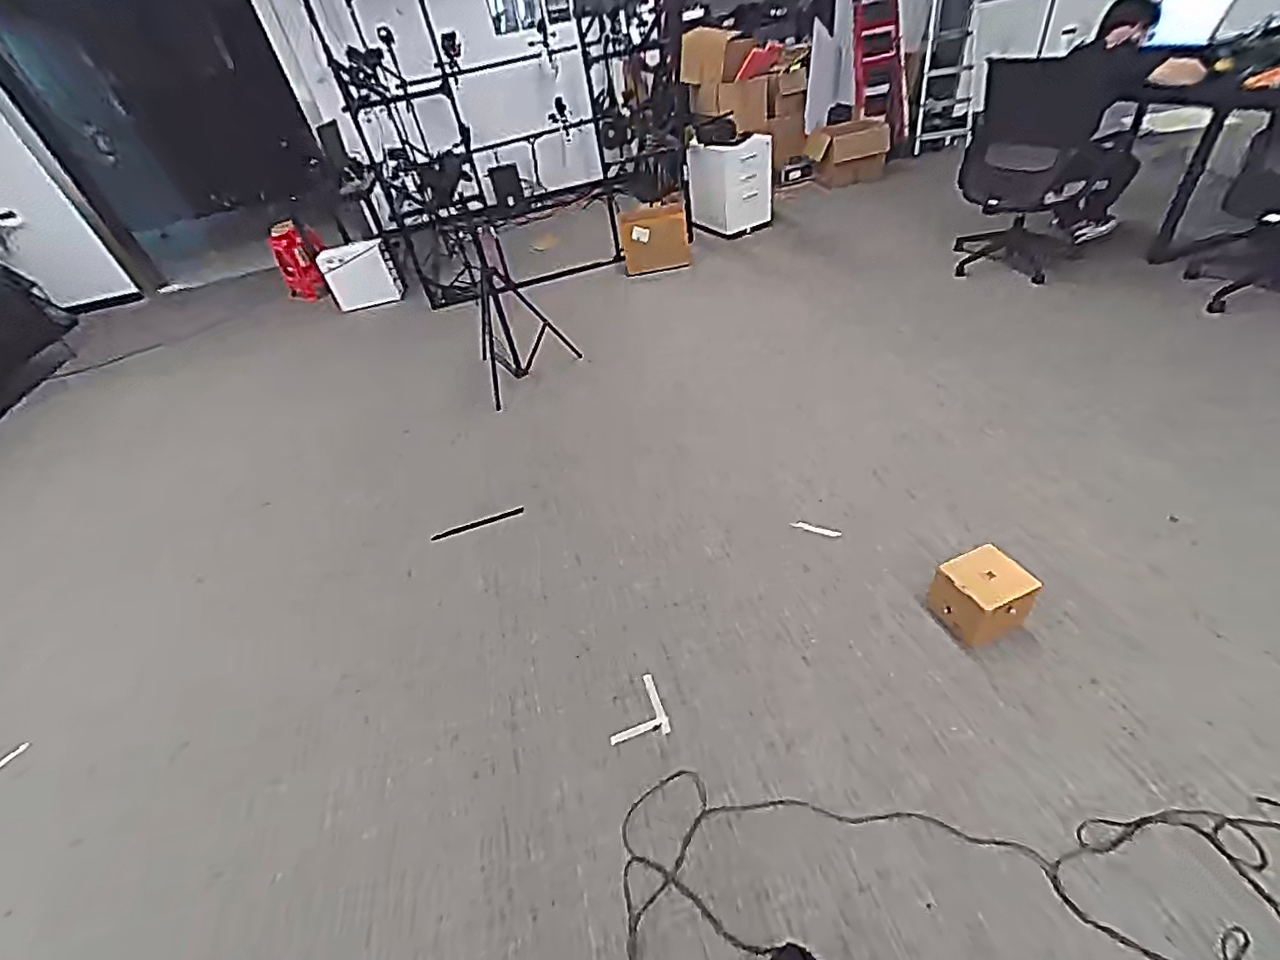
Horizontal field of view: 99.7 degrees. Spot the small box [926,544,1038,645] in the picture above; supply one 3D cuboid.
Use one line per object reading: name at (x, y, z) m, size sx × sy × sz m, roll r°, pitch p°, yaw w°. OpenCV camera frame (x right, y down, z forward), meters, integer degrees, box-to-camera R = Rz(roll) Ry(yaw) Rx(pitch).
small box at (0.909, 0.309, 1.456) m, size 0.179 × 0.176 × 0.168 m, roll -21°, pitch 41°, yaw -10°
